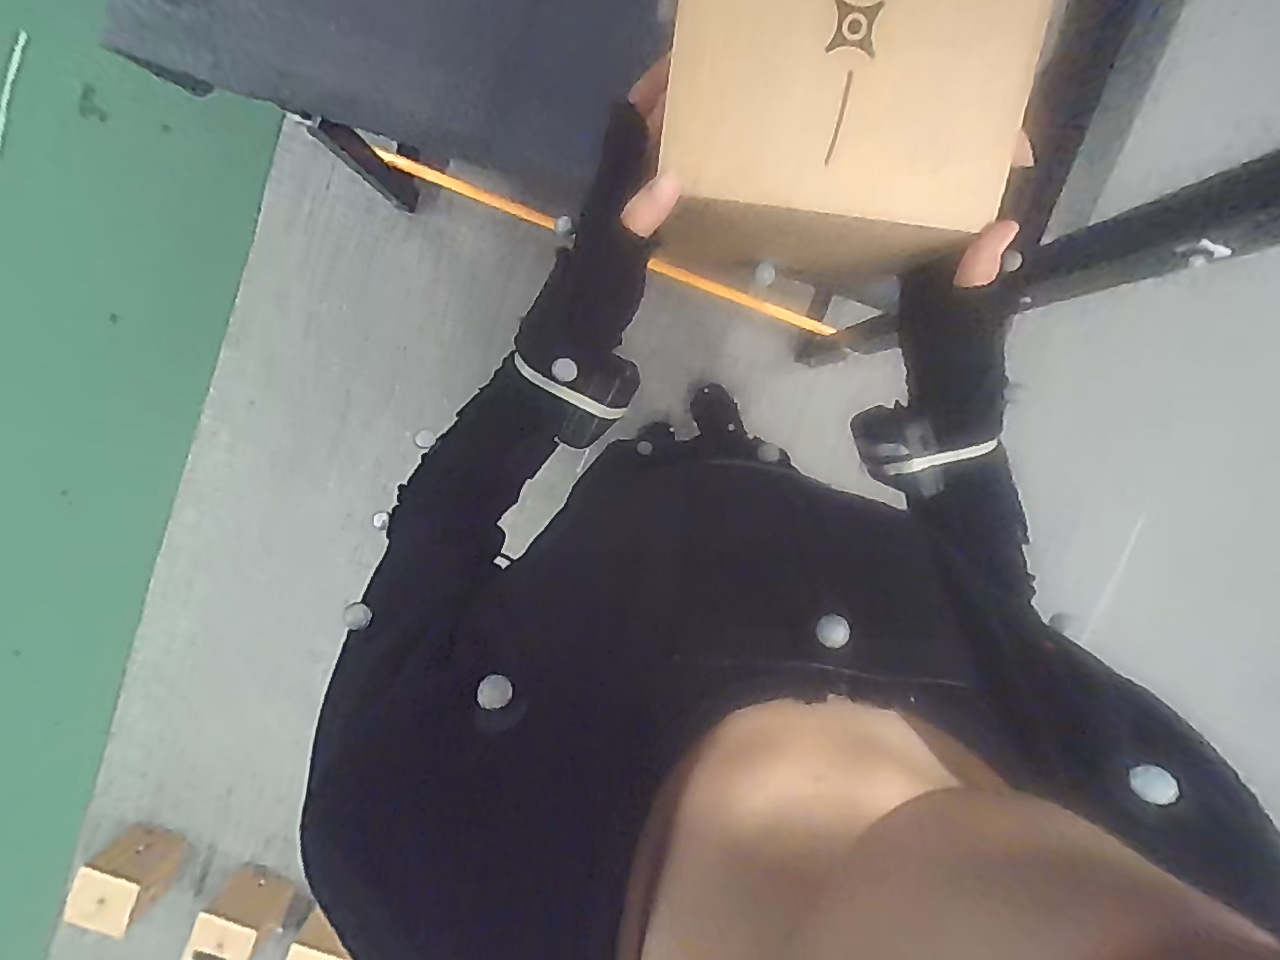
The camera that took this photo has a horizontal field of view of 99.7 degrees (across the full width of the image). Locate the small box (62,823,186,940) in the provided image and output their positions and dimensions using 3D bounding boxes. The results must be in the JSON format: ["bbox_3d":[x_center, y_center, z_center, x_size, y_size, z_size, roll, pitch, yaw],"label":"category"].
[{"bbox_3d":[-1.431,1.113,1.513,0.168,0.176,0.179,22,96,-2],"label":"small box"}]

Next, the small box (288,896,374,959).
[{"bbox_3d":[-0.891,1.347,1.544,0.168,0.176,0.179,21,96,-3],"label":"small box"}]
